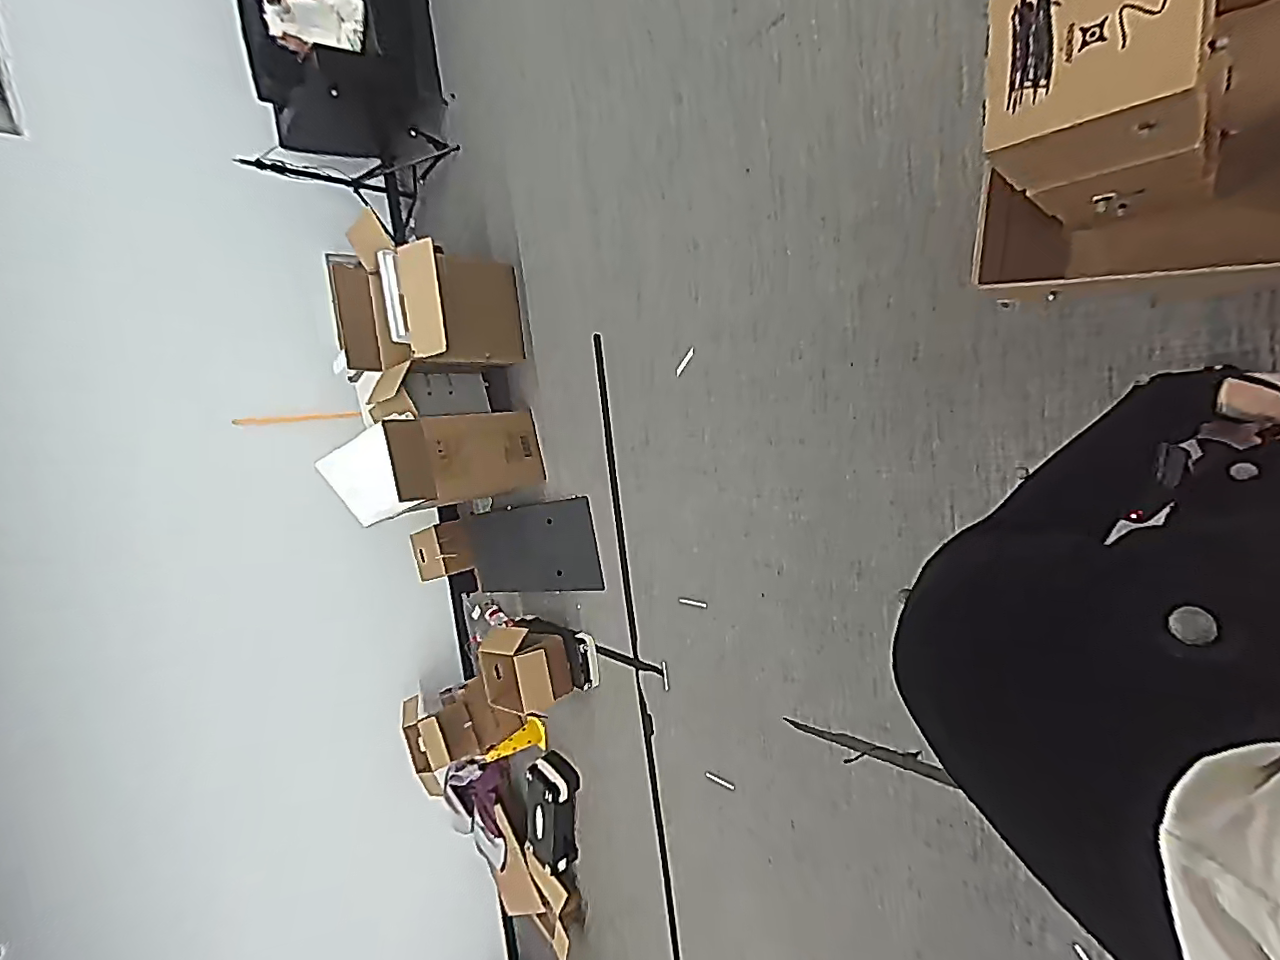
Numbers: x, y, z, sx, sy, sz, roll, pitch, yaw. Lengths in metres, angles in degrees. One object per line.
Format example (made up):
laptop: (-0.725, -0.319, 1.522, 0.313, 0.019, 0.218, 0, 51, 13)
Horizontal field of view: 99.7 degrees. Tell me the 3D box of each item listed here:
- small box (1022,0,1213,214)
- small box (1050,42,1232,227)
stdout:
small box: (0.622, -0.474, 0.707, 0.168, 0.176, 0.179, 5, 102, 48)
small box: (0.748, -0.495, 0.811, 0.179, 0.176, 0.168, 8, 104, 45)
